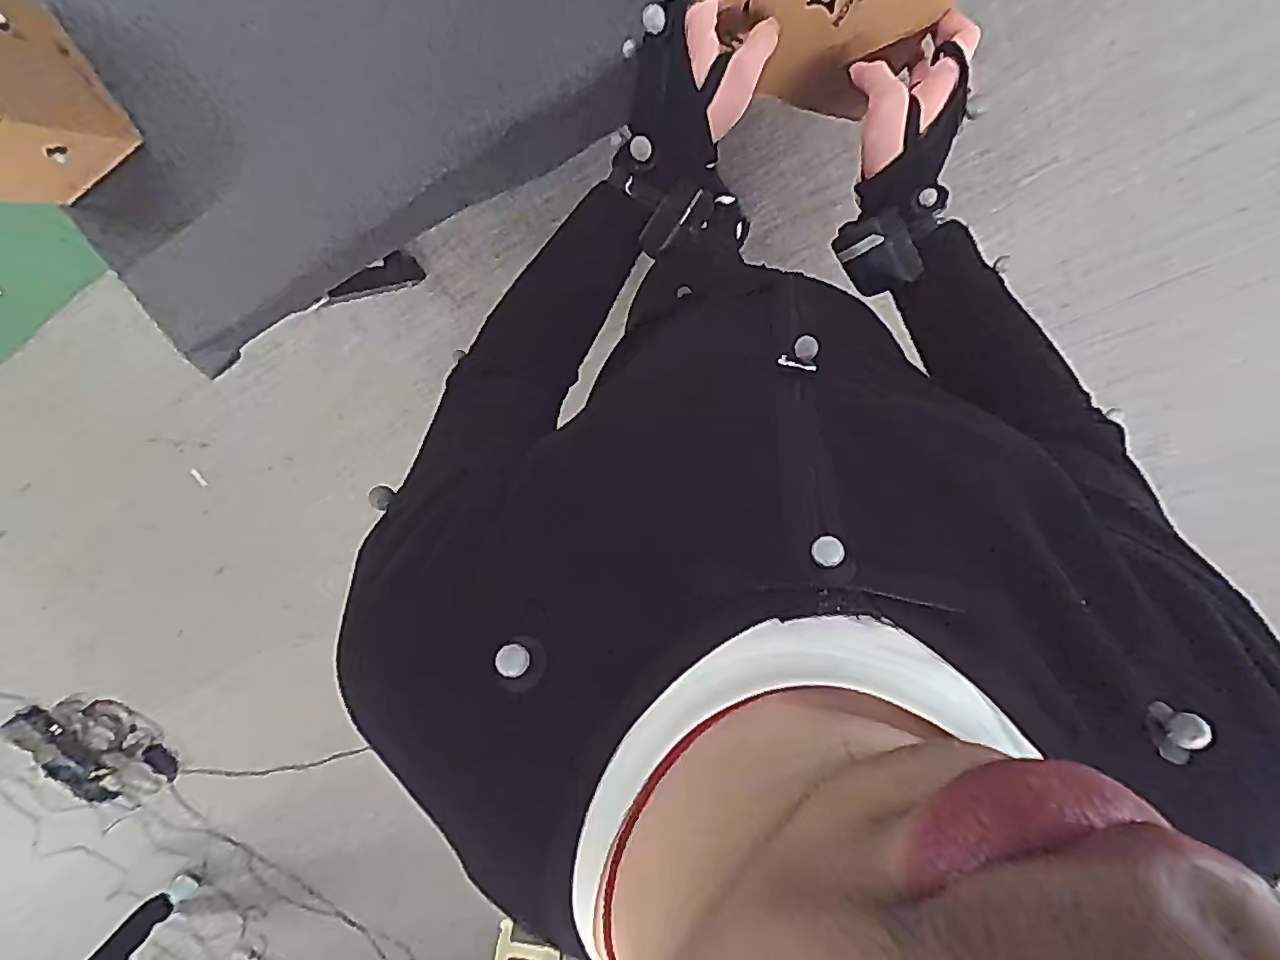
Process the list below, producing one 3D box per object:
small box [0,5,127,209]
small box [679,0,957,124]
[{"bbox_3d":[-0.784,-0.447,0.646,0.179,0.176,0.168,-20,109,15],"label":"small box"},{"bbox_3d":[0.138,-0.425,0.413,0.179,0.168,0.176,1,74,-18],"label":"small box"}]
